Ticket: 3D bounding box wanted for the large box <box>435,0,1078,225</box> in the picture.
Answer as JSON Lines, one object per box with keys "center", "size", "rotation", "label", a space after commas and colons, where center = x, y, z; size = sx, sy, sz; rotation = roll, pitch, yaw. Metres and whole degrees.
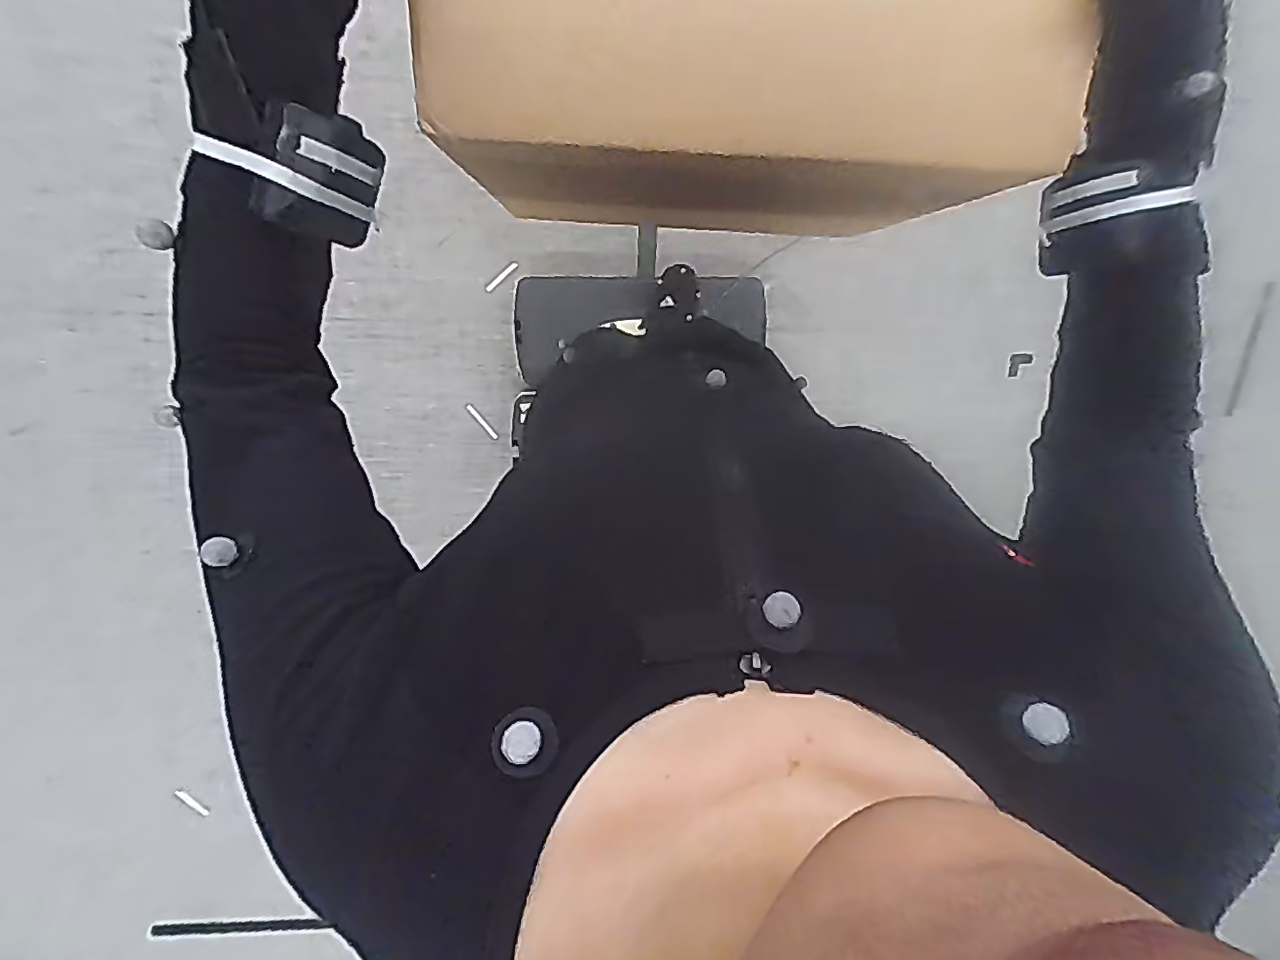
{"center": [0.067, -0.407, 0.448], "size": [0.408, 0.320, 0.320], "rotation": [1, 108, -4], "label": "large box"}
